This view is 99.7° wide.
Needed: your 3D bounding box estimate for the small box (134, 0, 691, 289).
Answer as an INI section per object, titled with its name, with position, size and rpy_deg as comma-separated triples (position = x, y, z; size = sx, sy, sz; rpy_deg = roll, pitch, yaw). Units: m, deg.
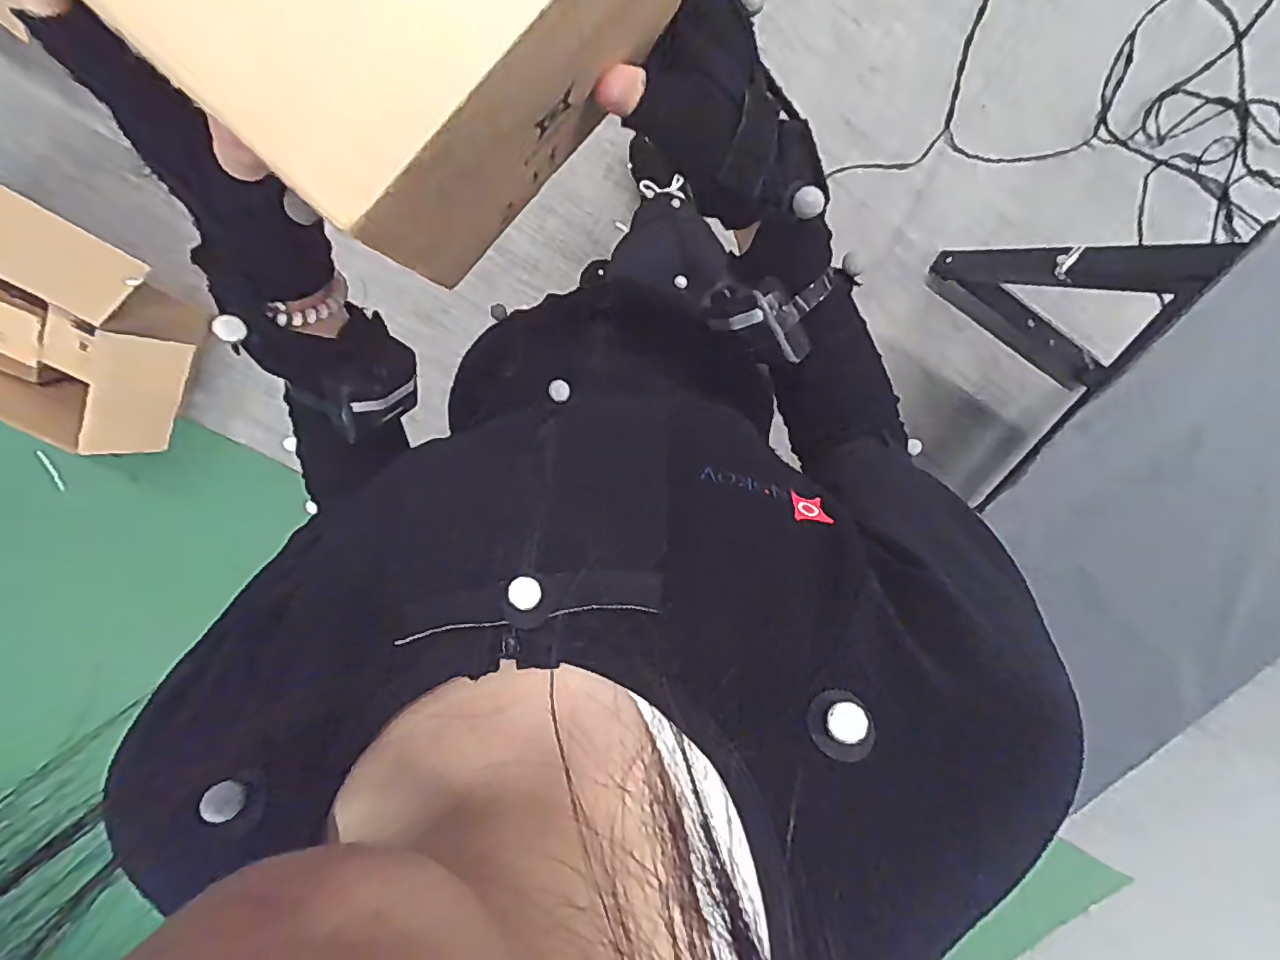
[small box]
position = -0.088, -0.199, 0.193
size = 0.176, 0.179, 0.168
rpy_deg = 43, 93, -17
